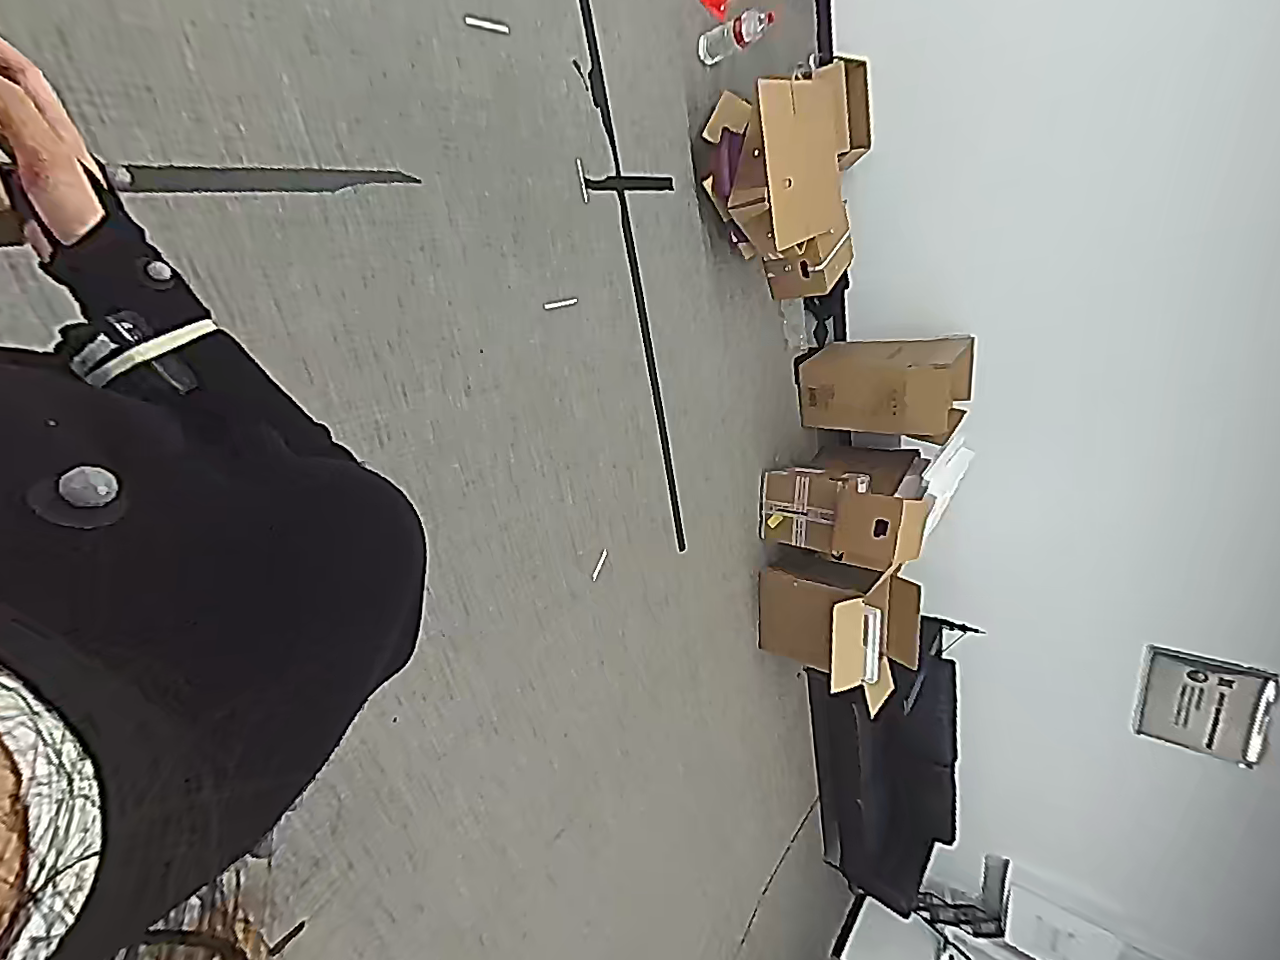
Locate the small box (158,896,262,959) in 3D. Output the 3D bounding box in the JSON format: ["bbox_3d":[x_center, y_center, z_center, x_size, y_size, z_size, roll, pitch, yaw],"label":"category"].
[{"bbox_3d":[-0.991,1.142,1.261,0.179,0.176,0.168,-25,114,-45],"label":"small box"}]

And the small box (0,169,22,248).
[{"bbox_3d":[-0.454,-0.224,0.257,0.168,0.176,0.179,-23,107,-41],"label":"small box"}]
